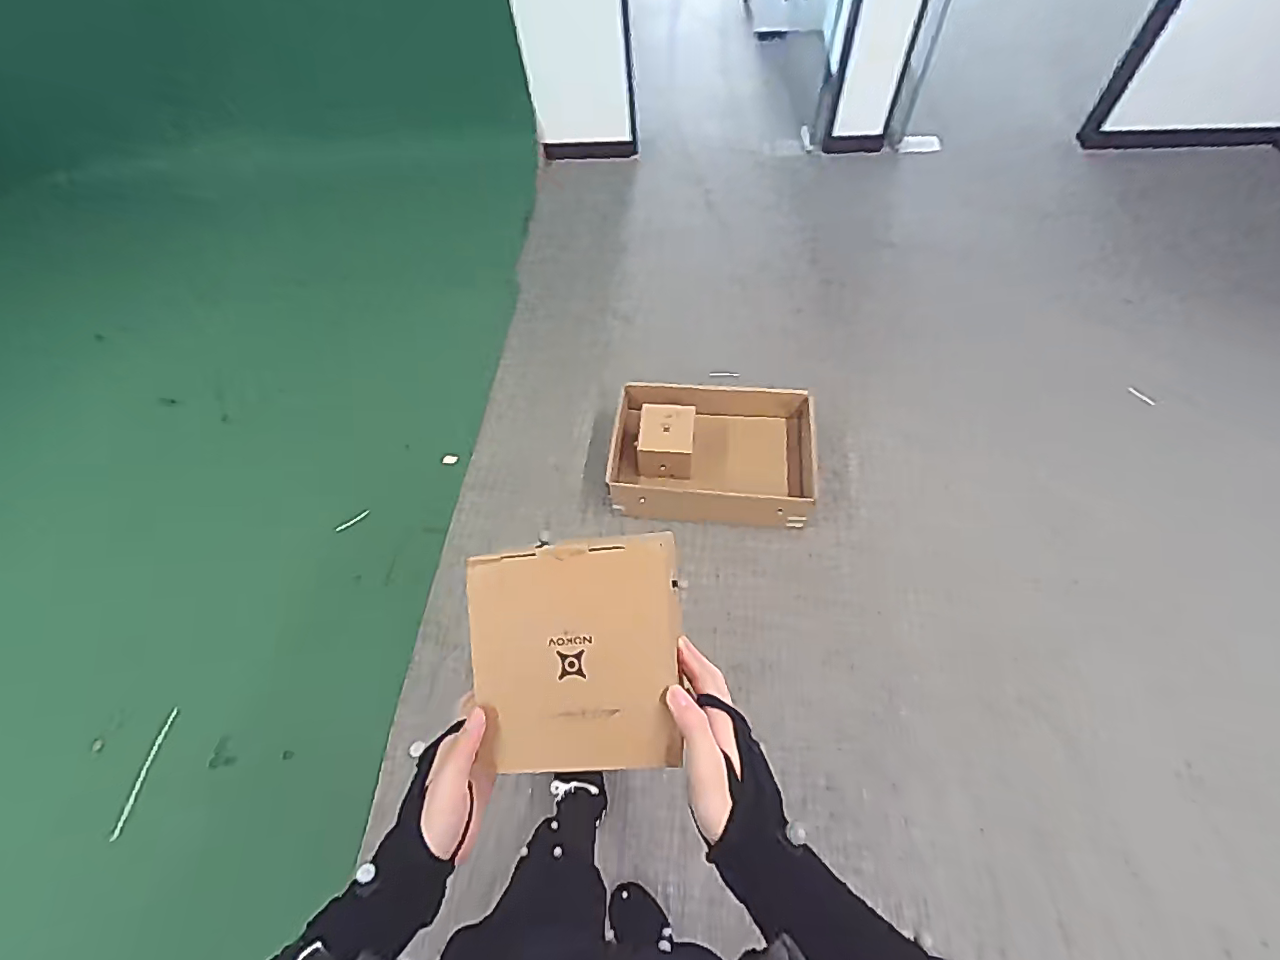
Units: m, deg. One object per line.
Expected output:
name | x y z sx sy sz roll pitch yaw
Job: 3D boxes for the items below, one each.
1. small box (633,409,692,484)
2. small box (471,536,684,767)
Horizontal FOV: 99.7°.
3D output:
small box | 0.075 -0.102 1.718 0.168 0.176 0.179 4 59 5
small box | -0.046 0.144 0.510 0.168 0.176 0.179 -4 86 6
